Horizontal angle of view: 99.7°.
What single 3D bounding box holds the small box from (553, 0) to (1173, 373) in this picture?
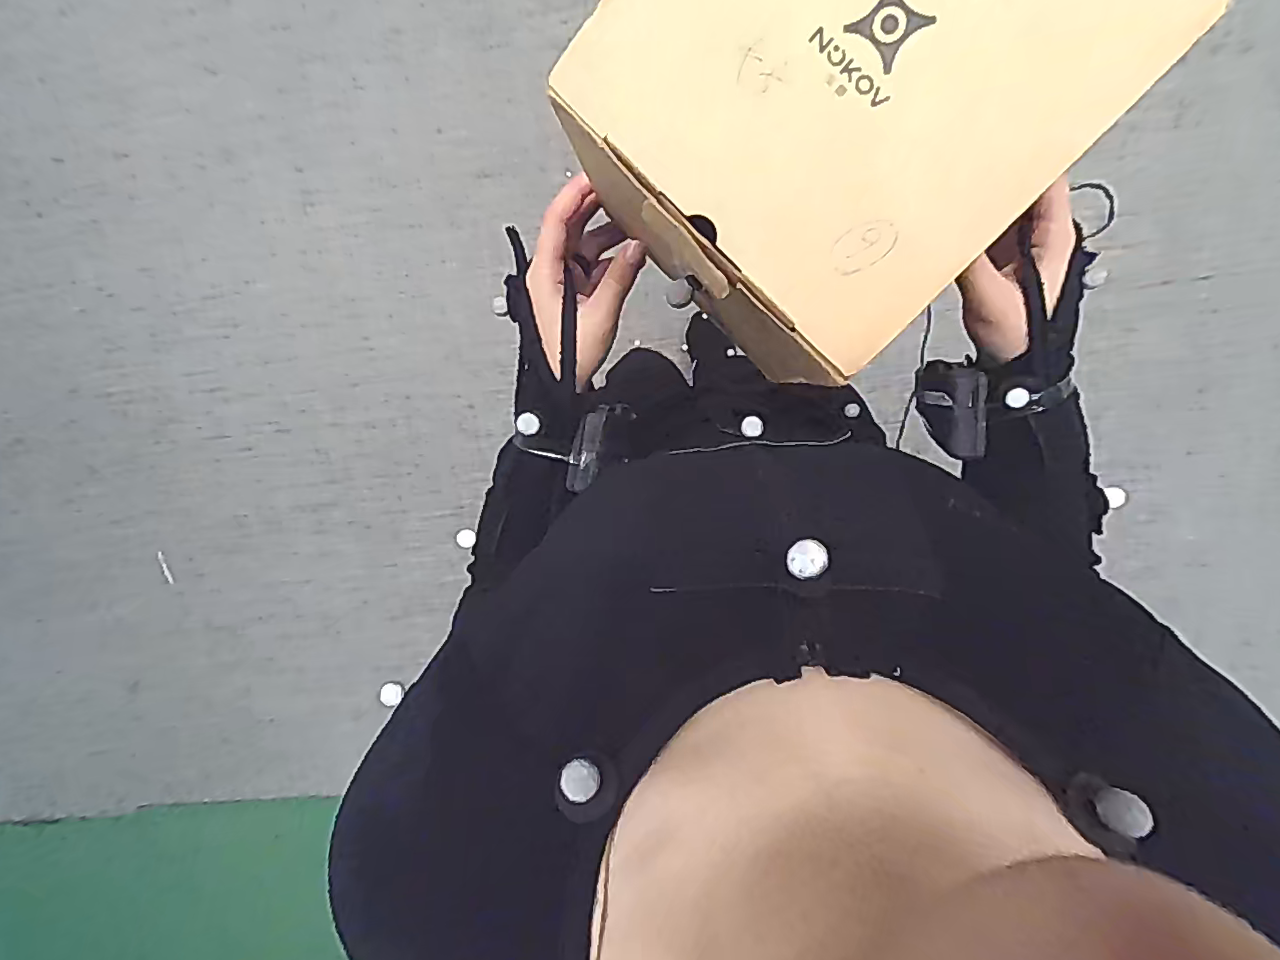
[{"bbox_3d":[0.087,-0.173,0.287,0.168,0.176,0.179,43,101,-3],"label":"small box"}]
